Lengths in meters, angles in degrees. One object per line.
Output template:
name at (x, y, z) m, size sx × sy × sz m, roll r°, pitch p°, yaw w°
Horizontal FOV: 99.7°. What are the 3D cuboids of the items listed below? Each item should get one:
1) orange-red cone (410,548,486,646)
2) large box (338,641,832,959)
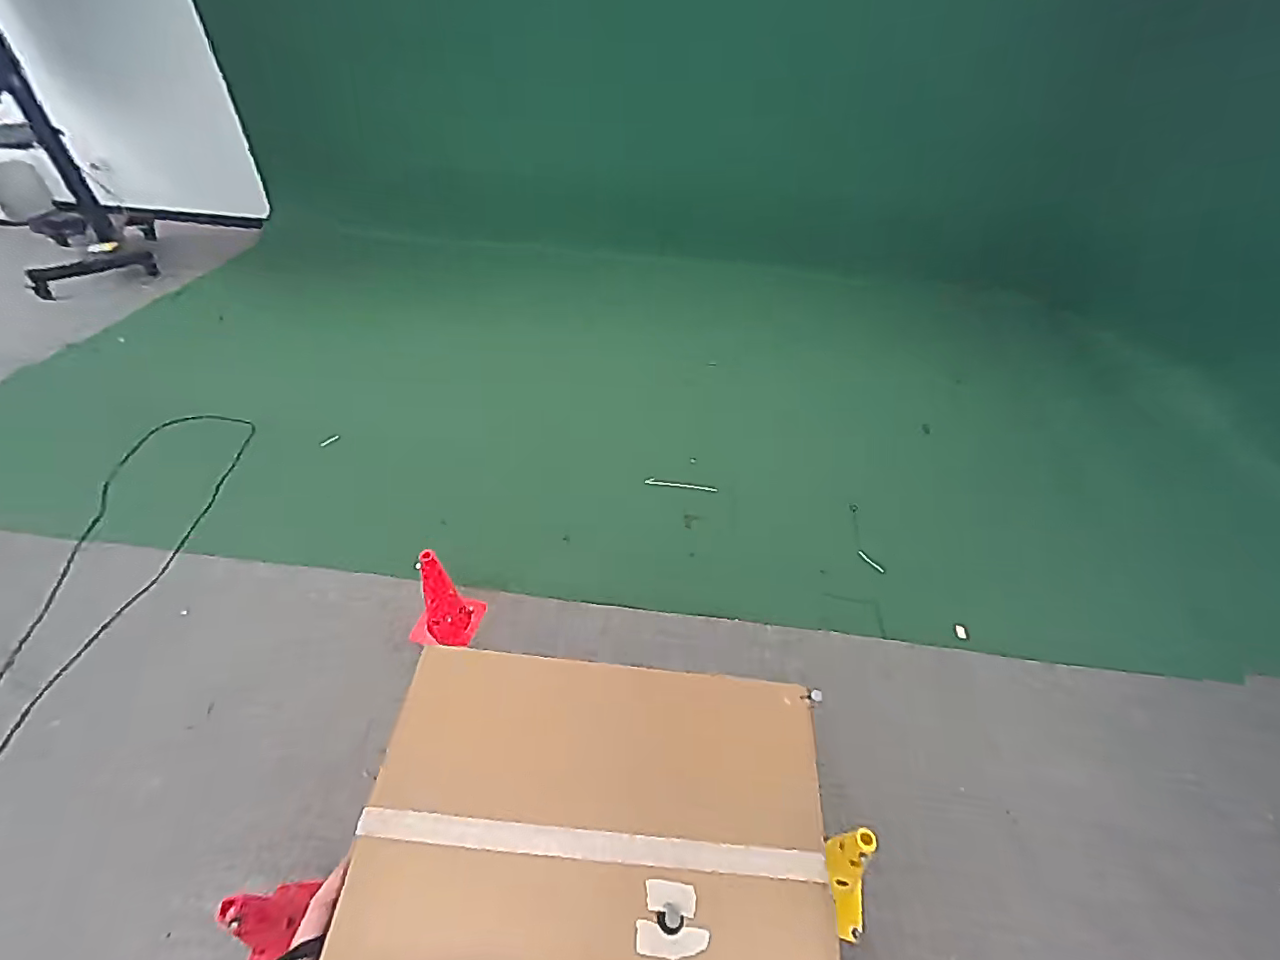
orange-red cone at (-0.639, 0.344, 1.705) m, size 0.199 × 0.360 × 0.198 m, roll 11°, pitch 43°, yaw 10°
large box at (-0.046, 0.401, 0.606) m, size 0.408 × 0.320 × 0.320 m, roll 7°, pitch 53°, yaw -1°
